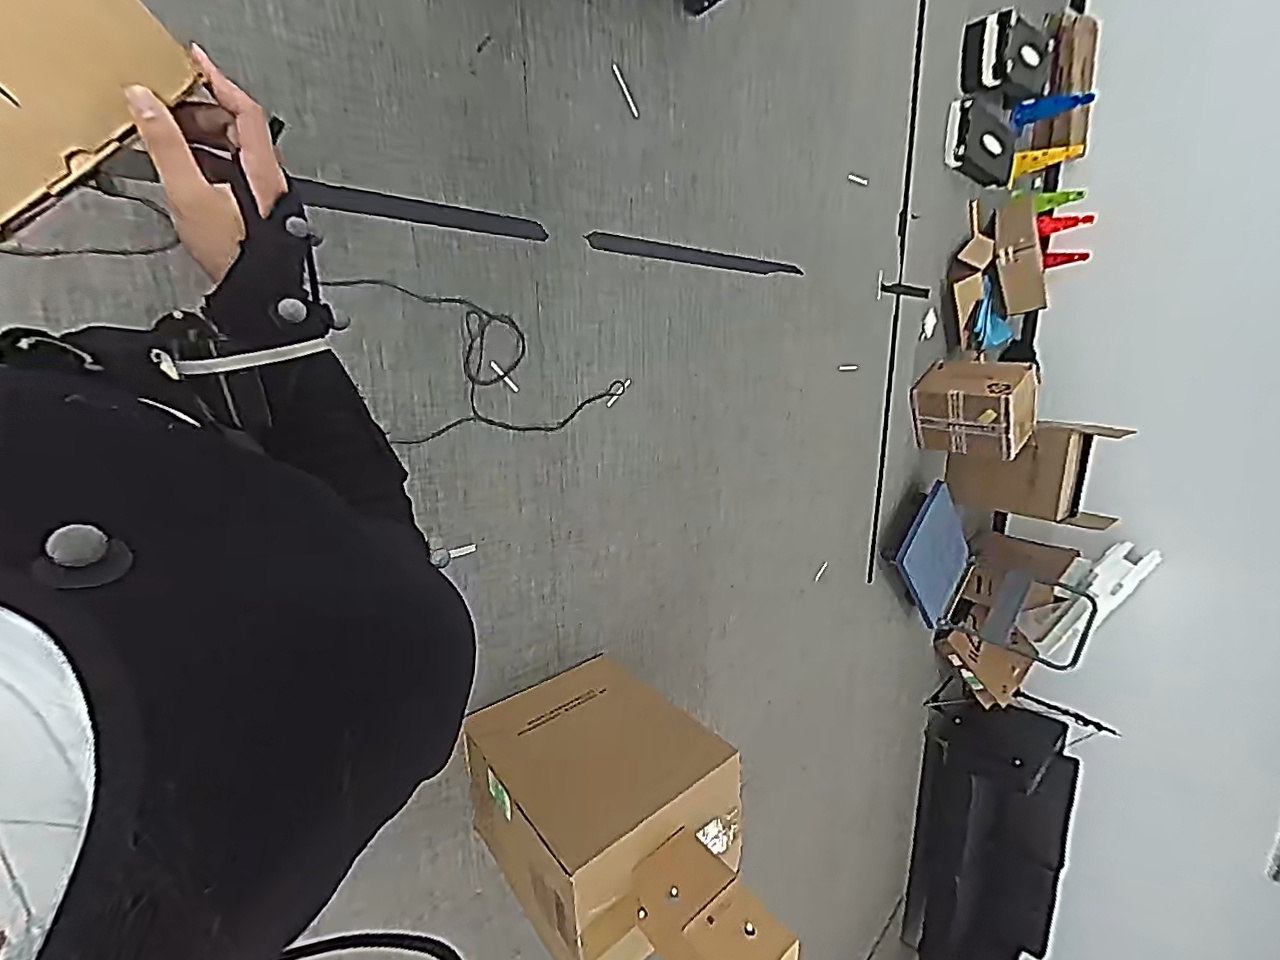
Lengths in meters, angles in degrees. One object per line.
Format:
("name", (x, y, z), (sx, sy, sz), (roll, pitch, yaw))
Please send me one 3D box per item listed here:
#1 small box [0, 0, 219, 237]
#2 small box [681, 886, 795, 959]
("small box", (-0.372, -0.244, 0.276), (0.168, 0.176, 0.179), (-48, 137, -11))
("small box", (0.196, 0.983, 1.101), (0.168, 0.176, 0.179), (-16, 111, -37))
